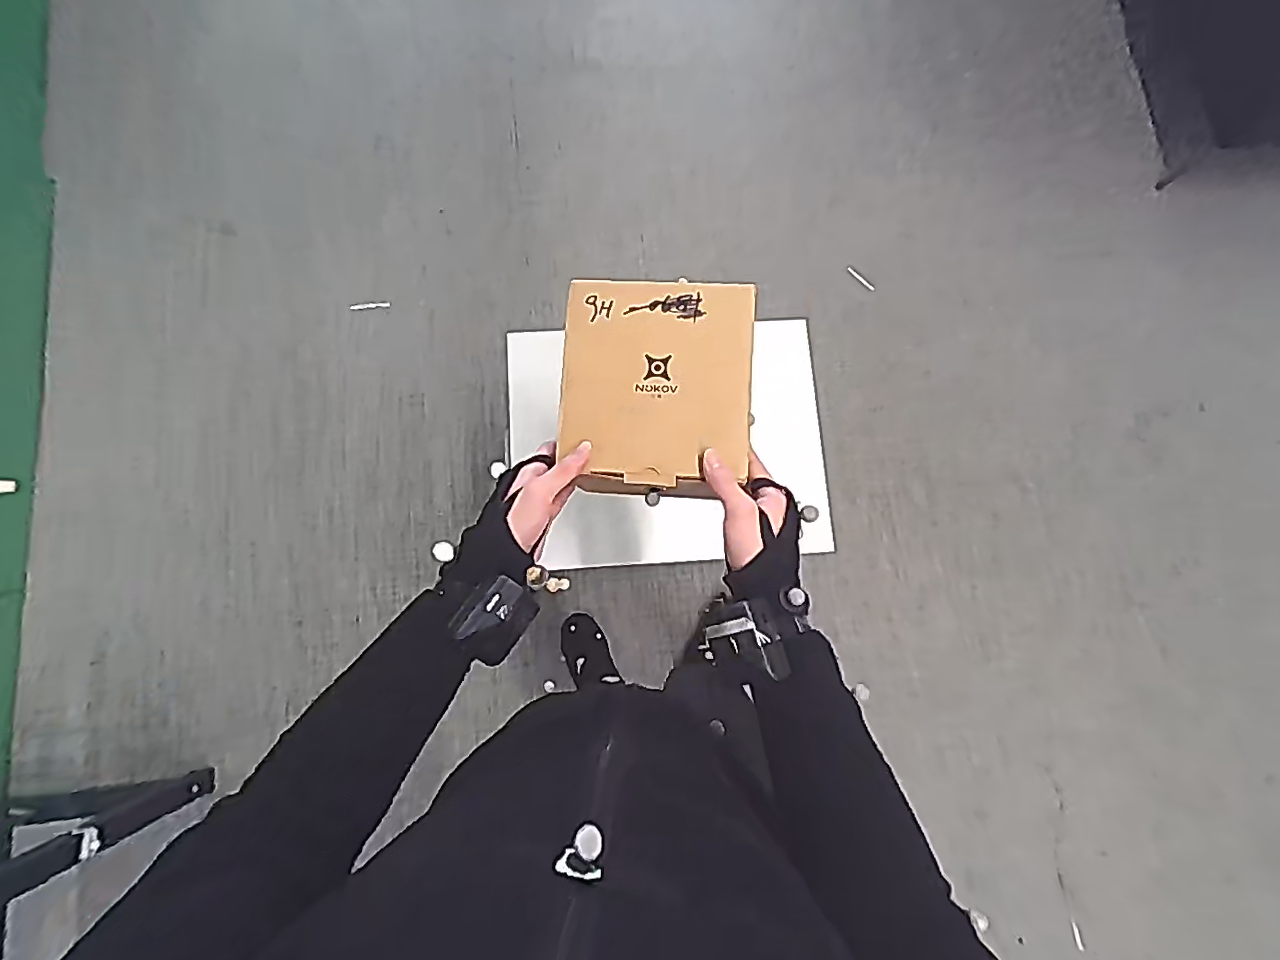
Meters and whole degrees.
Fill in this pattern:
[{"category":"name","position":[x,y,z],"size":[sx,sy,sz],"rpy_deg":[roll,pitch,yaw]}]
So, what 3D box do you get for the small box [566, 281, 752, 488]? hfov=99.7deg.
[{"category":"small box","position":[0.024,-0.085,0.560],"size":[0.168,0.176,0.179],"rpy_deg":[0,83,4]}]
